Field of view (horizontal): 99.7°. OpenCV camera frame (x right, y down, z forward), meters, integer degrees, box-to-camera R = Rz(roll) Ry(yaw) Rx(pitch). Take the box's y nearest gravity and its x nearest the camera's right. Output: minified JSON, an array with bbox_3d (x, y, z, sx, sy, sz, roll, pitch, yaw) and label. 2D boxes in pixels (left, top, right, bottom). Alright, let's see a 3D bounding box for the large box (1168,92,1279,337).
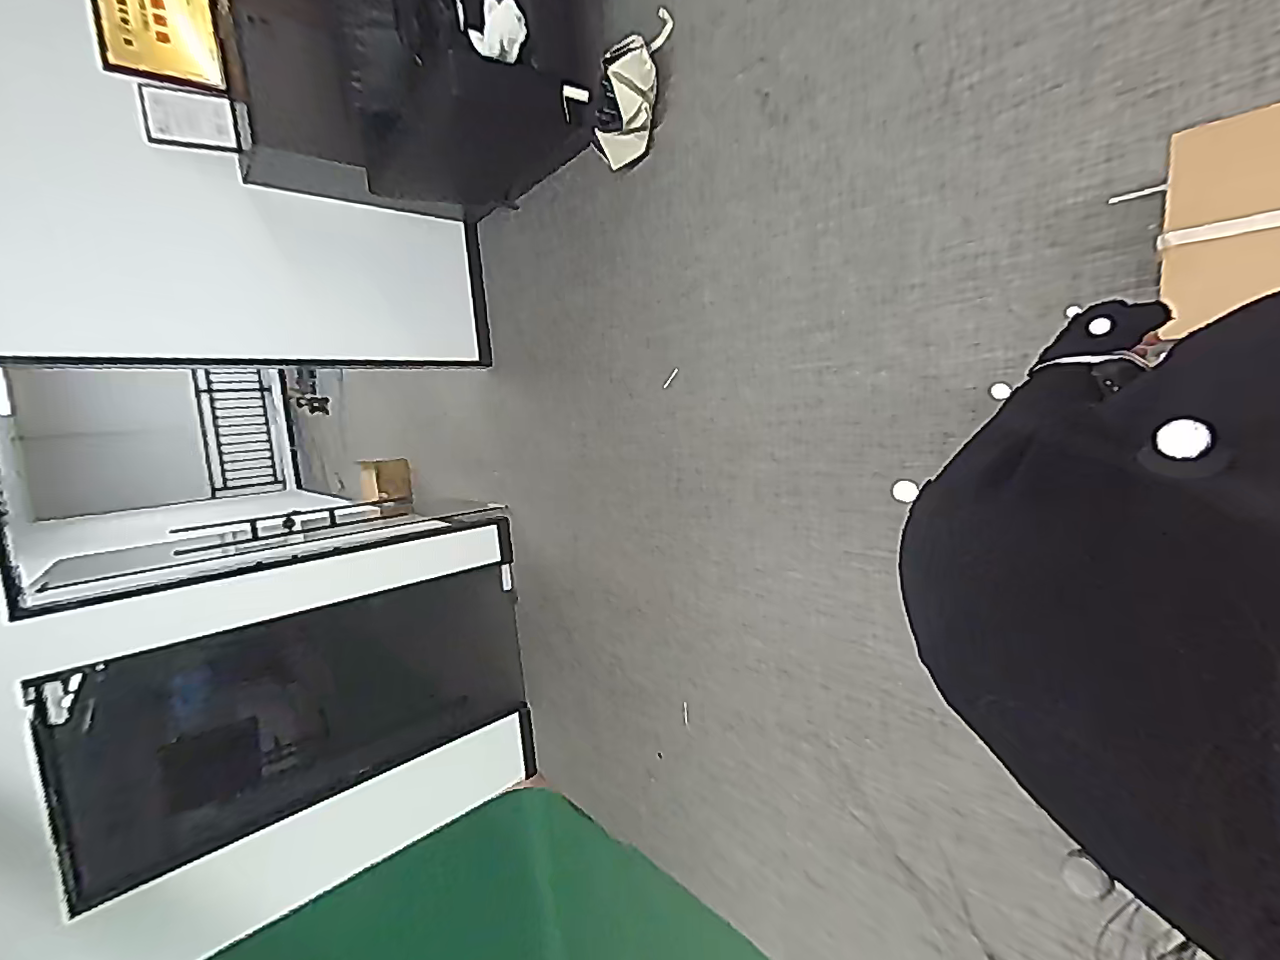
[{"bbox_3d":[1.075,-0.402,0.795,0.408,0.320,0.320,5,102,49],"label":"large box"}]
